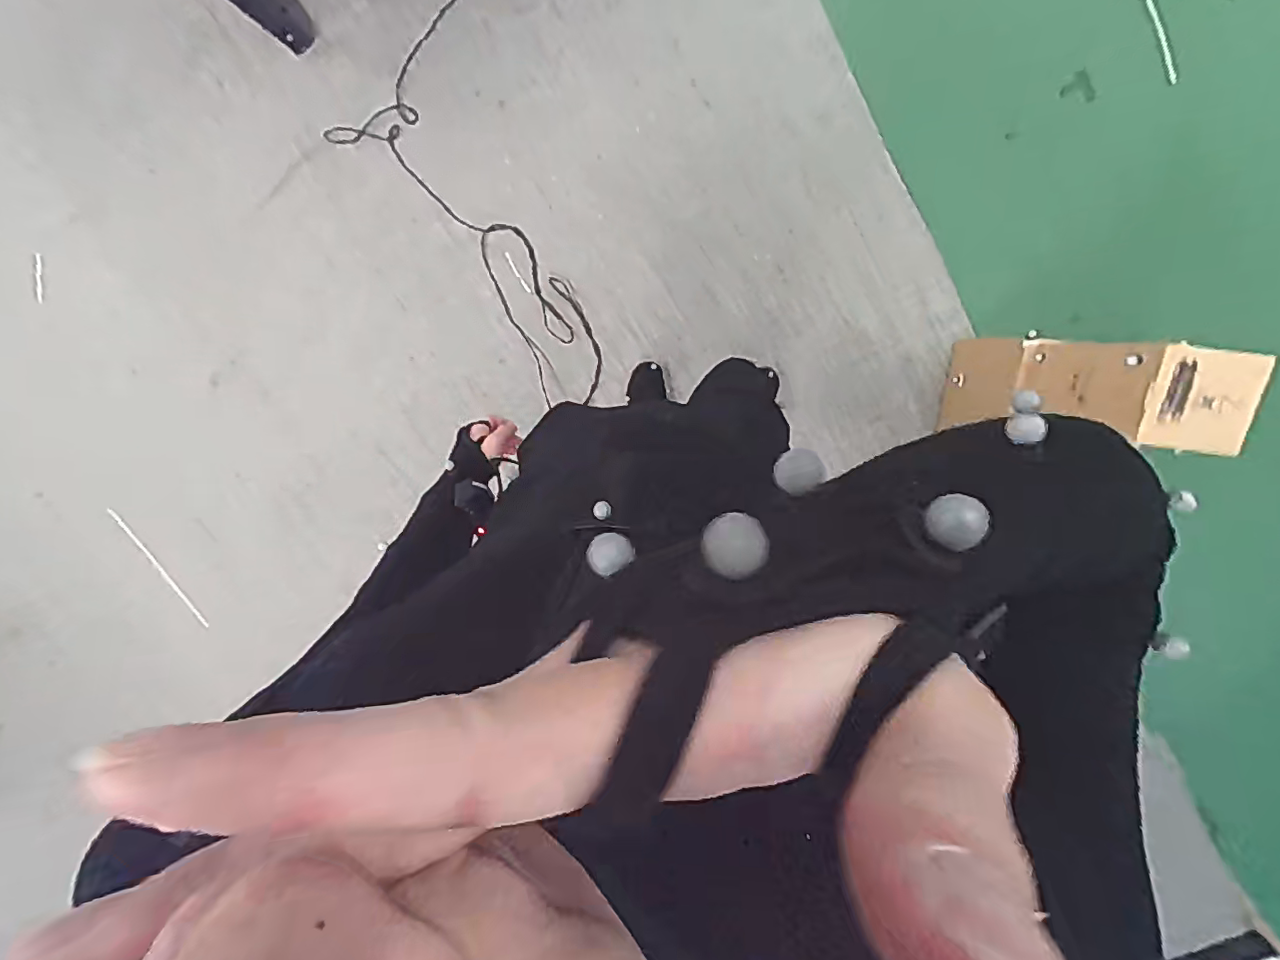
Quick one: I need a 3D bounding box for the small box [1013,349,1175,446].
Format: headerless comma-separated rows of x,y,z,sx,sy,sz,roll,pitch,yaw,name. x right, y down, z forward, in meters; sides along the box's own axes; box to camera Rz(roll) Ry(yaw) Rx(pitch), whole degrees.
0.937,-0.177,1.136,0.179,0.176,0.168,9,104,0,small box
